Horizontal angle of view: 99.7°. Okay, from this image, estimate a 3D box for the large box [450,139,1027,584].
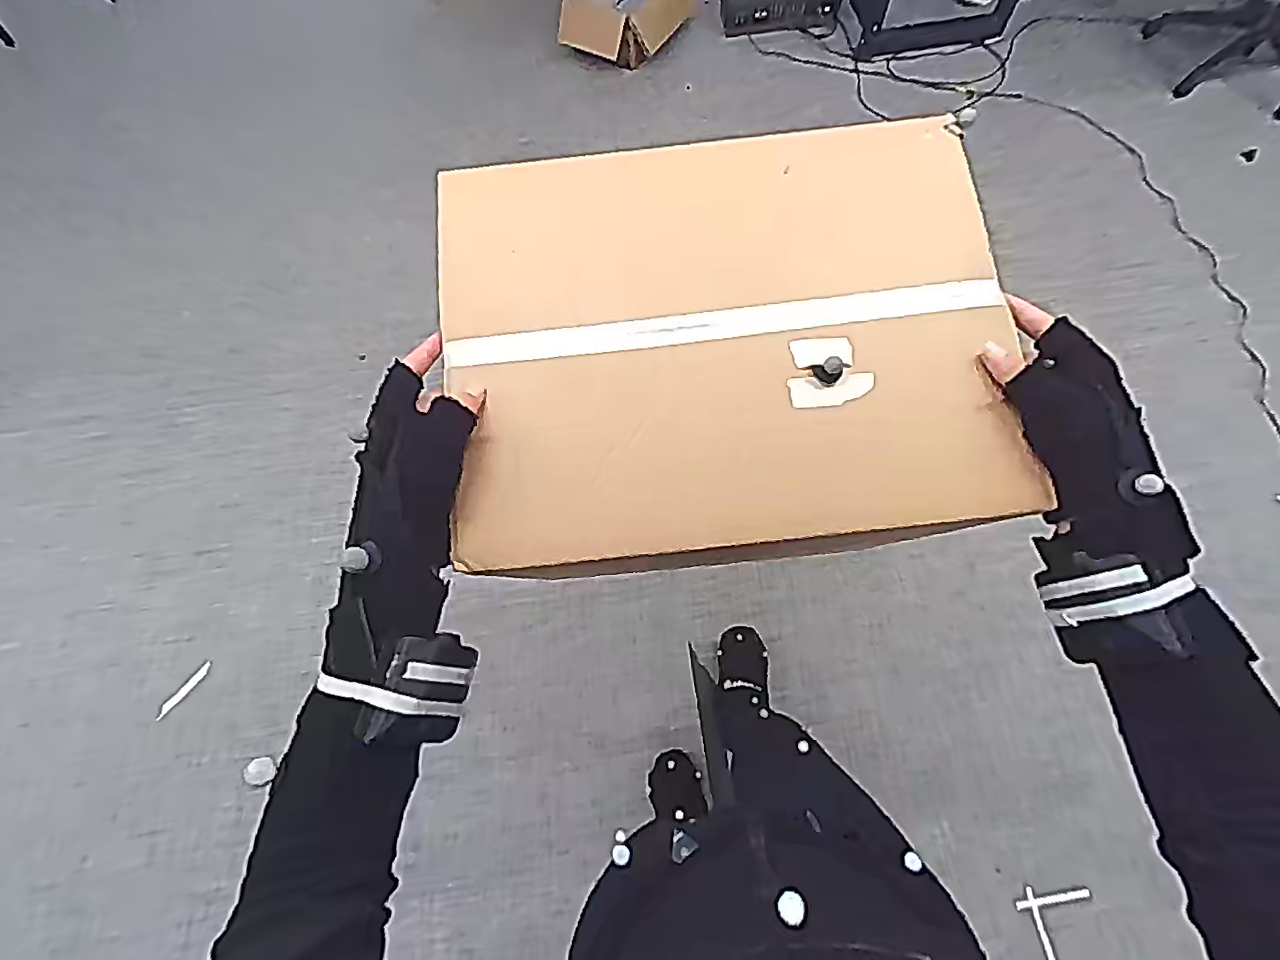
[{"bbox_3d":[0.061,-0.076,0.555,0.408,0.320,0.320,-7,79,0],"label":"large box"}]
